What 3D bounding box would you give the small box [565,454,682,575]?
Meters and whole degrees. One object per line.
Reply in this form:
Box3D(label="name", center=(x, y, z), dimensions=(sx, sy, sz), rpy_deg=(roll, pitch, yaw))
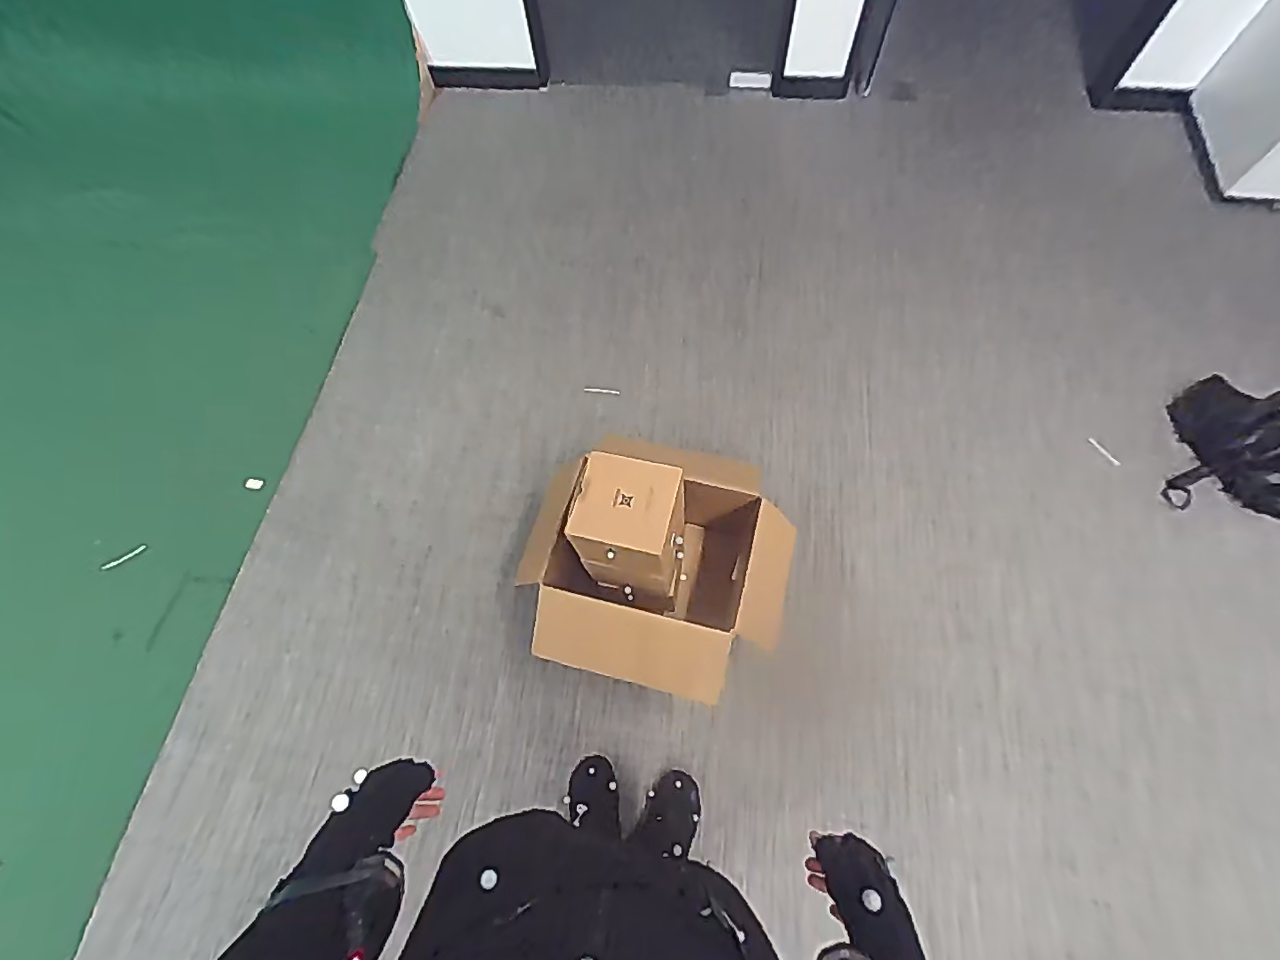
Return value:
Box3D(label="small box", center=(-0.022, 0.071, 1.024), dimensions=(0.179, 0.176, 0.168), rpy_deg=(11, 69, 9))
